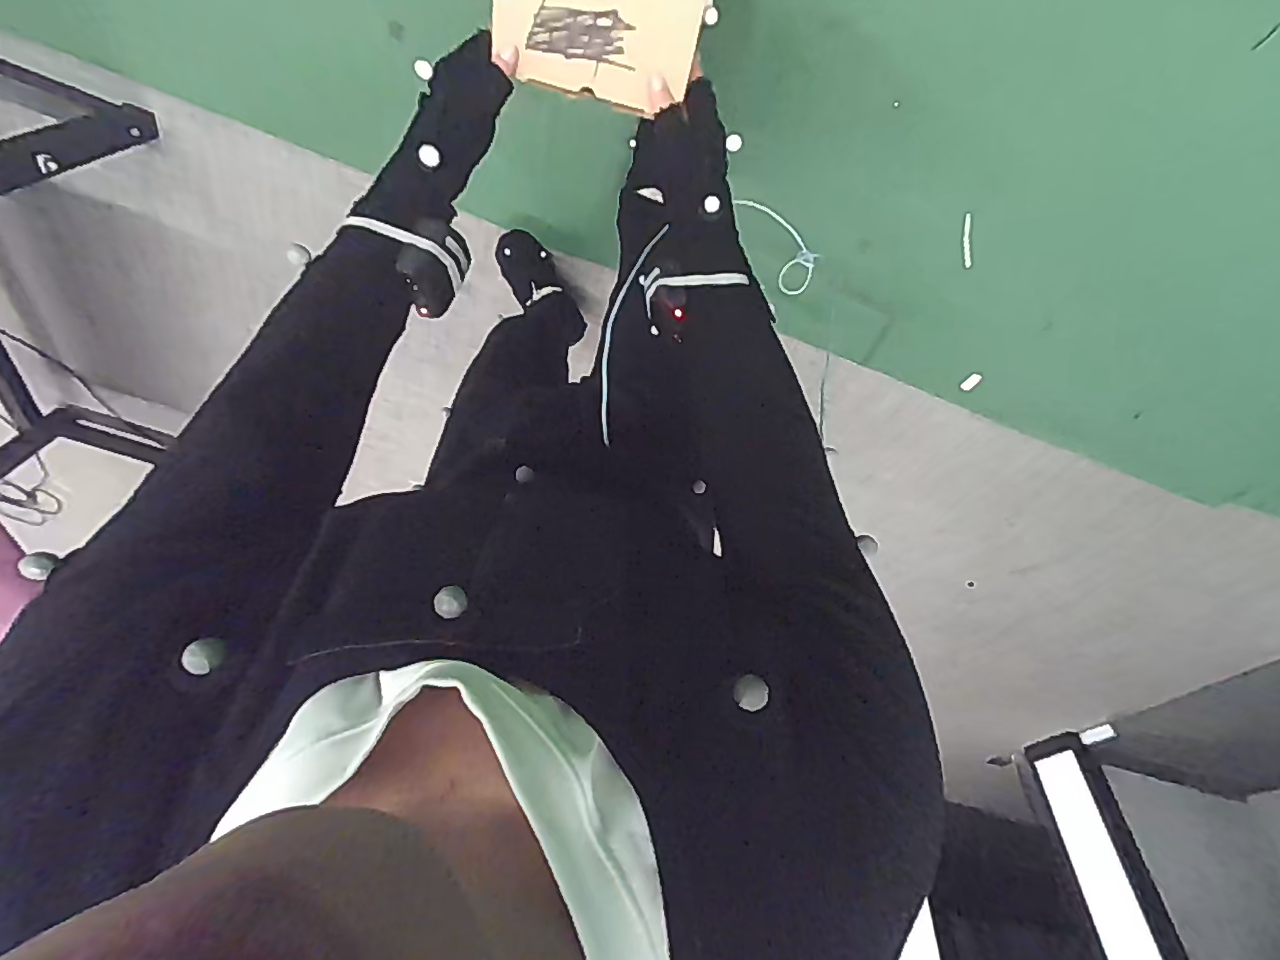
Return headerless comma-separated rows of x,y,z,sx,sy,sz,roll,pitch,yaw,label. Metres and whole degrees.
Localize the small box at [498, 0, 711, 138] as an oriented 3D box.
-0.020,-0.436,0.479,0.168,0.176,0.179,11,130,-6,small box
